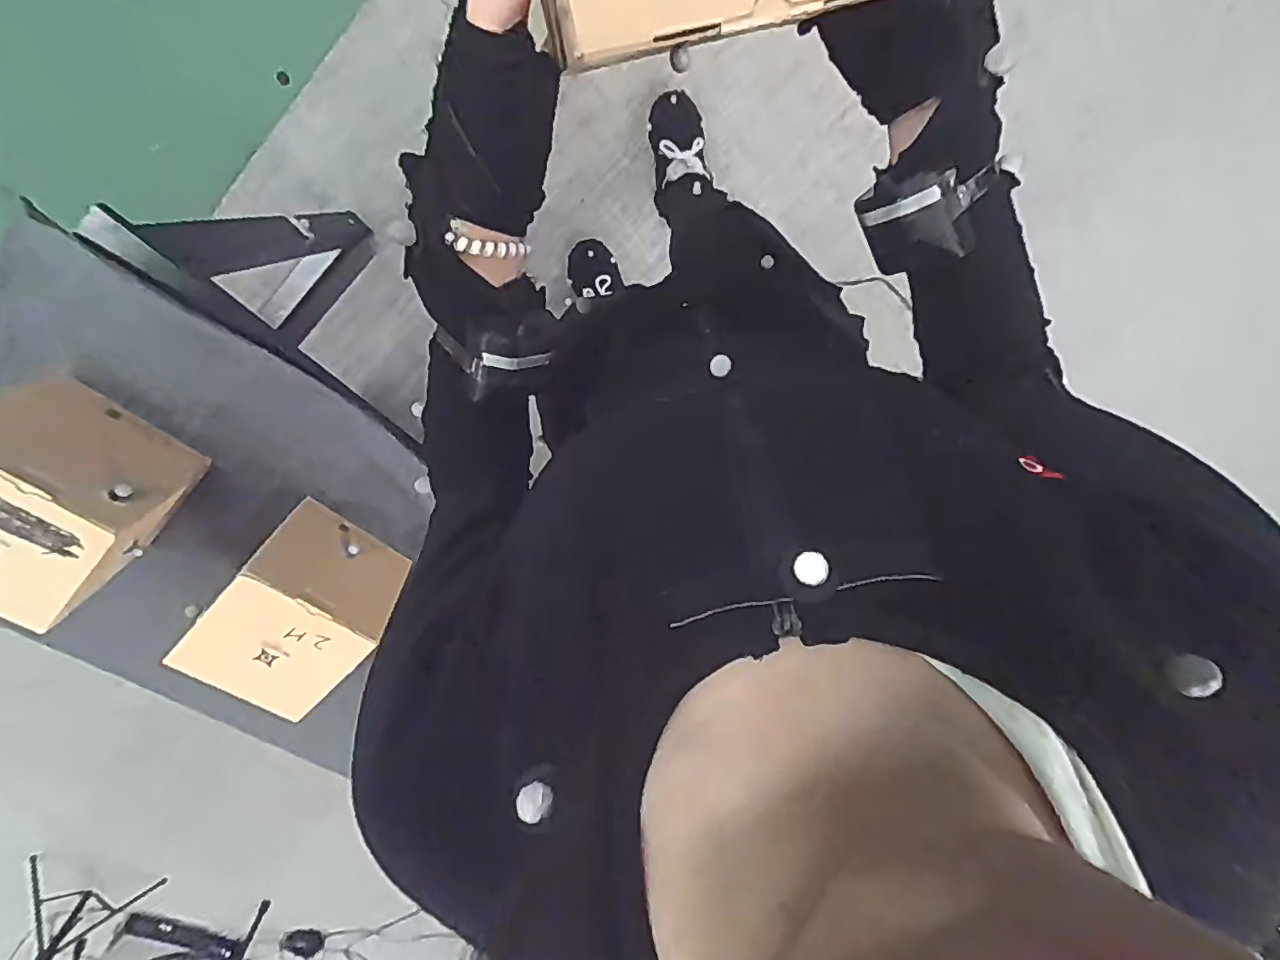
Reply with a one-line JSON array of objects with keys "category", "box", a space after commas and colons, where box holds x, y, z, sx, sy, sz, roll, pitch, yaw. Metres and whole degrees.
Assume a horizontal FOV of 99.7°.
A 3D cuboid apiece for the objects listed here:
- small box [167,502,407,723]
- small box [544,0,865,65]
[{"category": "small box", "box": [-0.432, 0.164, 0.695, 0.179, 0.176, 0.168, -42, 115, 14]}, {"category": "small box", "box": [0.026, -0.307, 0.237, 0.168, 0.176, 0.179, -16, 129, -3]}]
